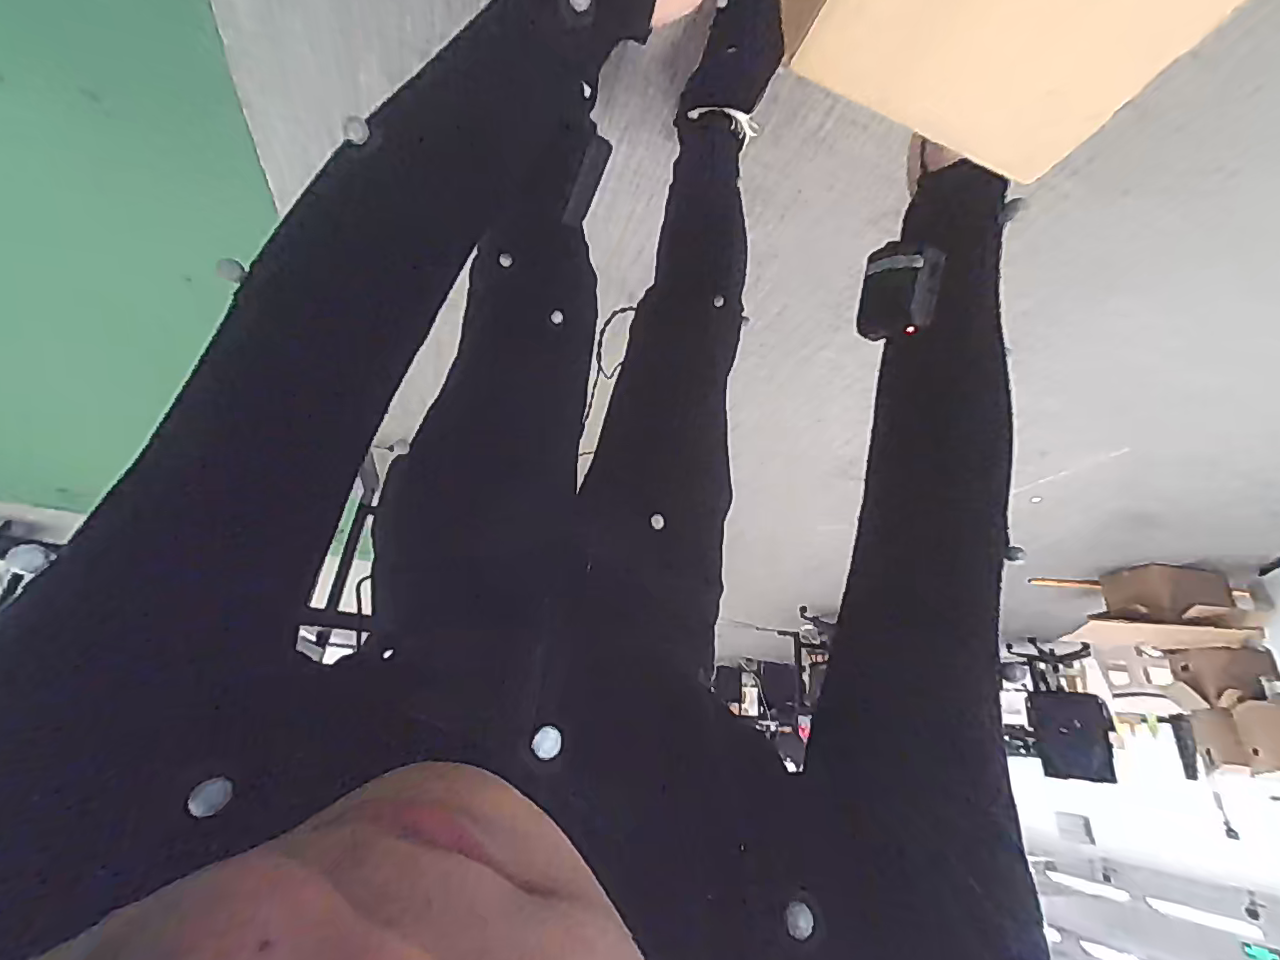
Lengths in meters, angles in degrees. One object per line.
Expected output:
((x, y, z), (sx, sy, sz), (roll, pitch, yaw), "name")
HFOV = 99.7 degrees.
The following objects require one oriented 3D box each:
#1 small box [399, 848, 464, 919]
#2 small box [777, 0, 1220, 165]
((-0.733, 1.413, 1.904), (0.179, 0.176, 0.168), (13, 156, -16), "small box")
((0.177, -0.297, 0.239), (0.168, 0.176, 0.179), (11, 155, -18), "small box")
